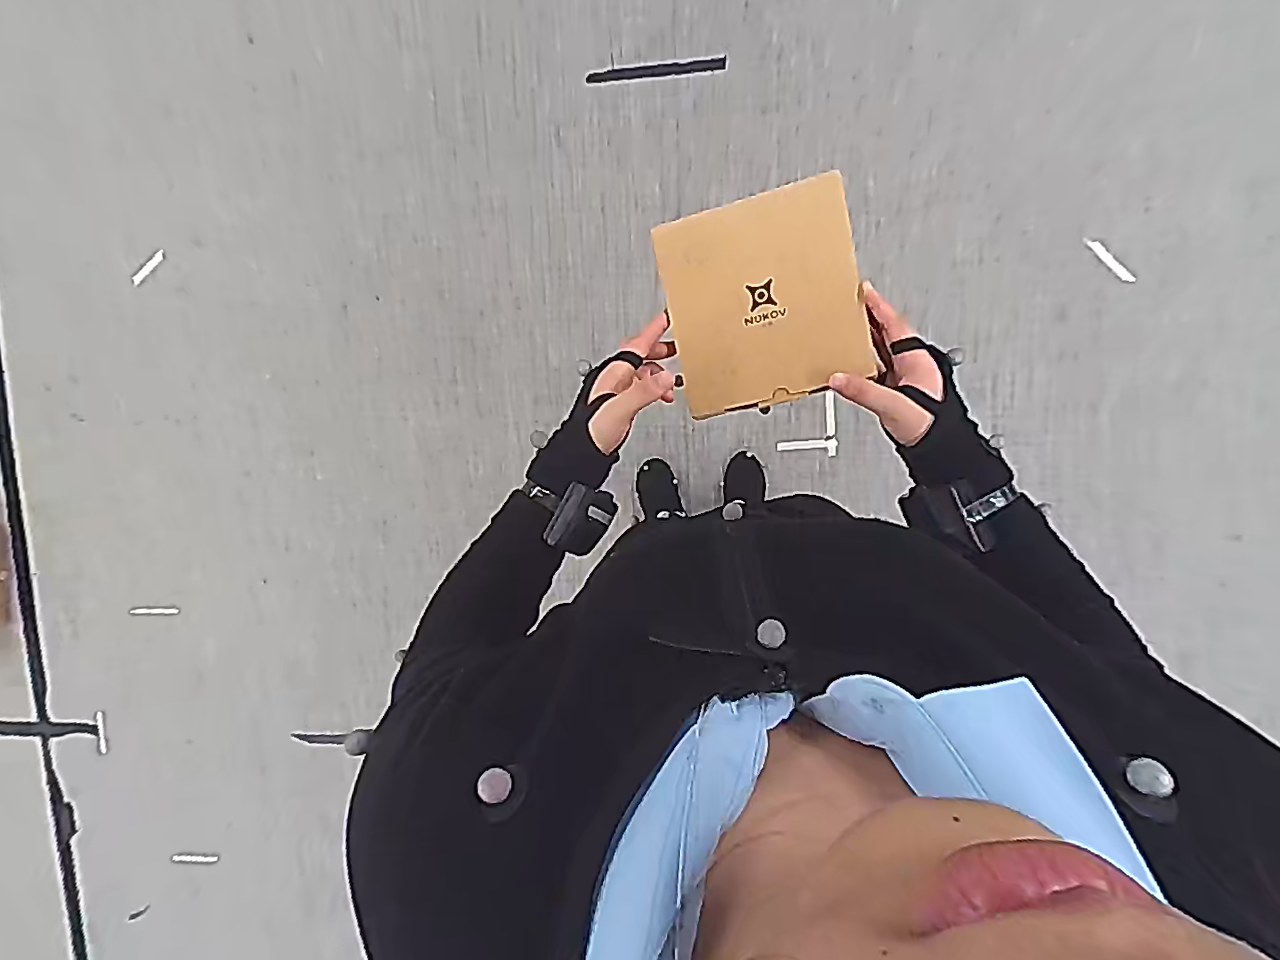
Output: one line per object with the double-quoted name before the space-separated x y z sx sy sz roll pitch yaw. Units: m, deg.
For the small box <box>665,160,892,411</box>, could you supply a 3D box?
"small box" 0.129 -0.172 0.538 0.168 0.176 0.179 -12 97 12
